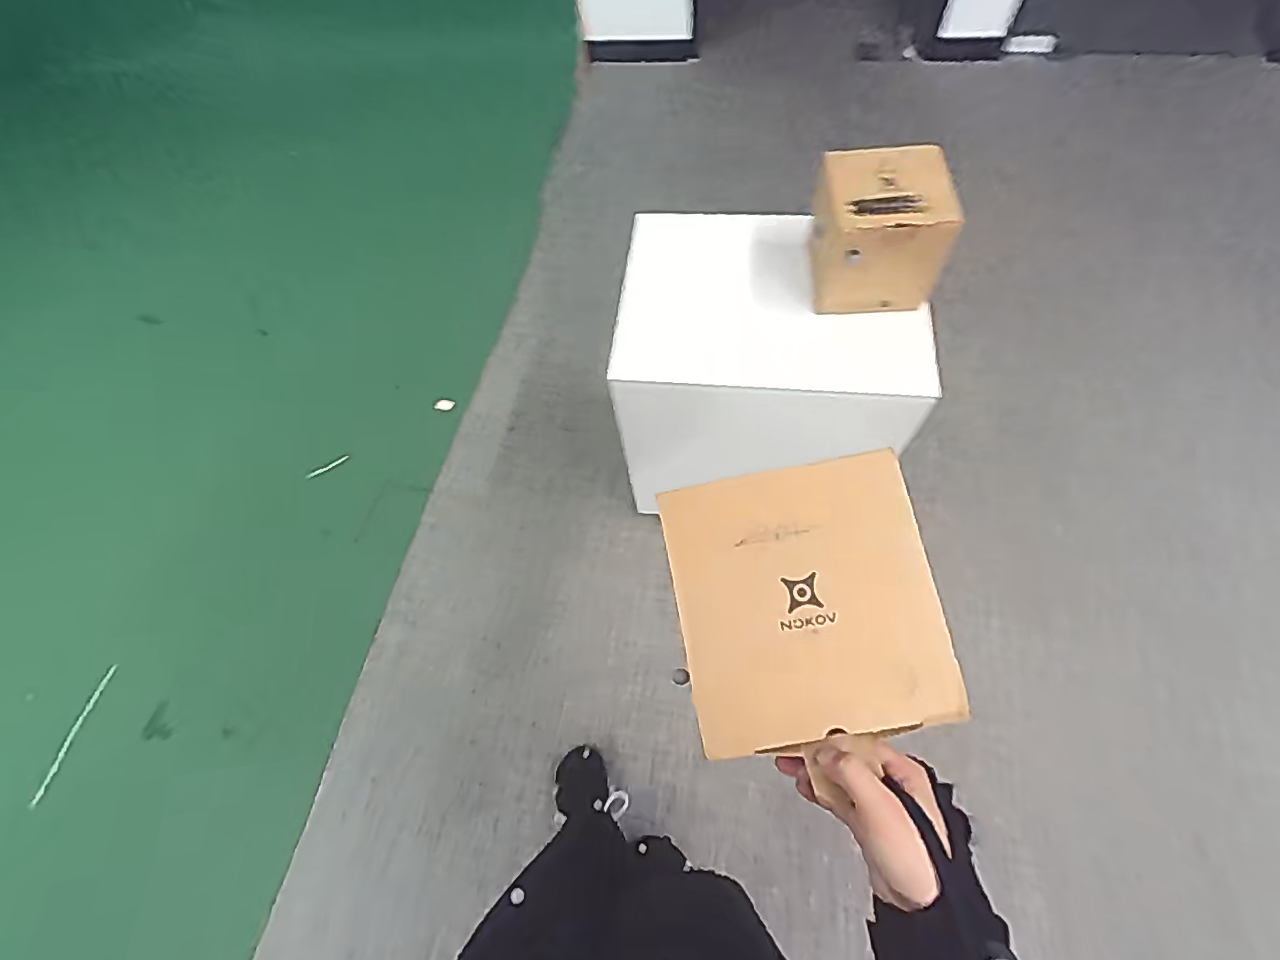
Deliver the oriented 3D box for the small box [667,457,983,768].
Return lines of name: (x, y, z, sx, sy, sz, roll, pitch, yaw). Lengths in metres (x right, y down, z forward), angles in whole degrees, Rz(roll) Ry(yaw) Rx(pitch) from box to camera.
small box: (0.120, 0.099, 0.424, 0.168, 0.176, 0.179, -11, 75, 3)
